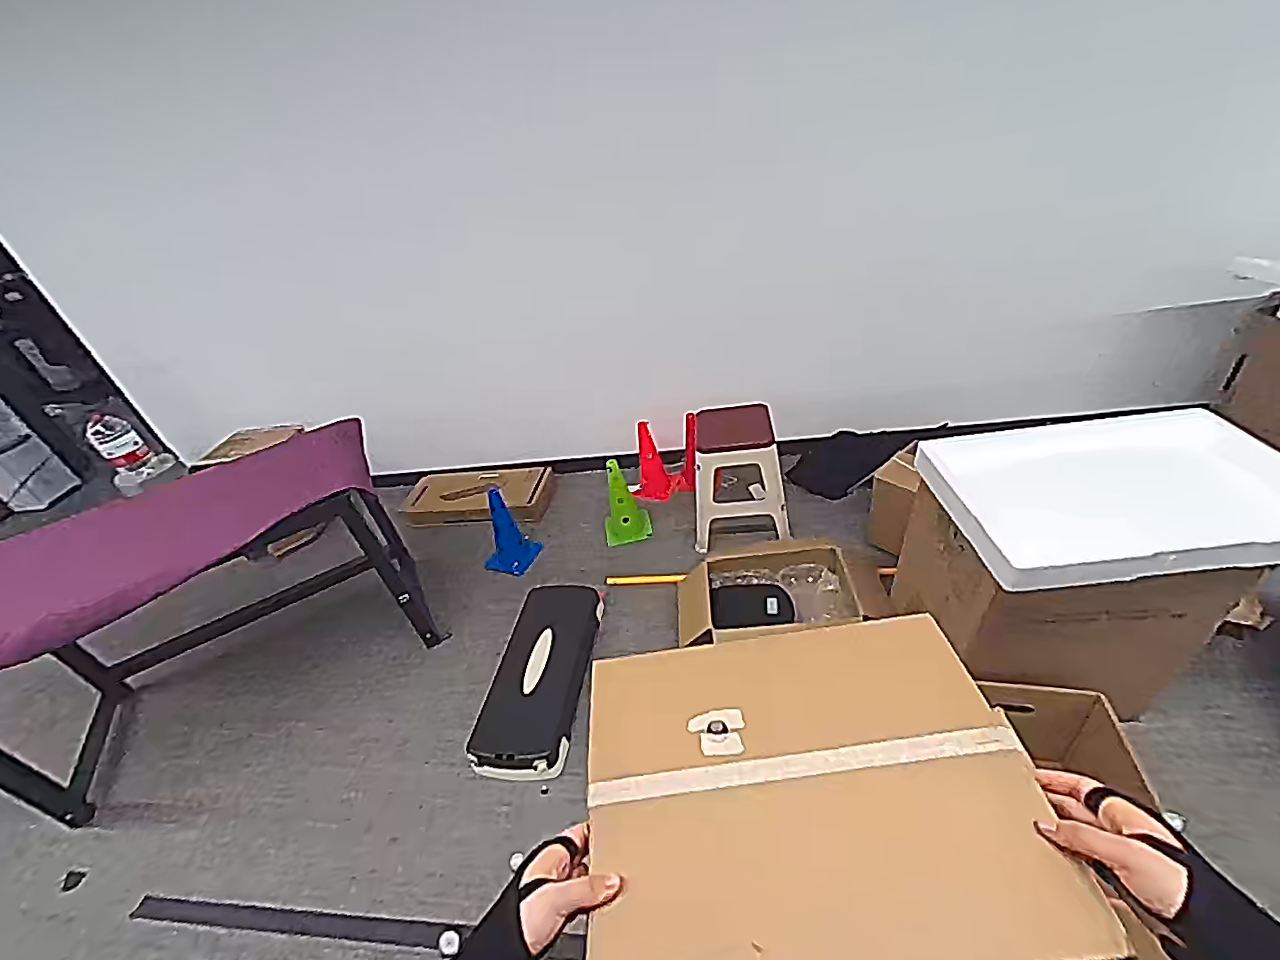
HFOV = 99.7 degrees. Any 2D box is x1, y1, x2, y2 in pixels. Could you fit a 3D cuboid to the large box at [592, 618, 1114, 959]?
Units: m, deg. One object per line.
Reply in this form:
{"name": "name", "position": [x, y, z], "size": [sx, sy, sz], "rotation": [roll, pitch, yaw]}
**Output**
{"name": "large box", "position": [0.178, 0.405, 0.613], "size": [0.408, 0.320, 0.320], "rotation": [-11, 34, 4]}
